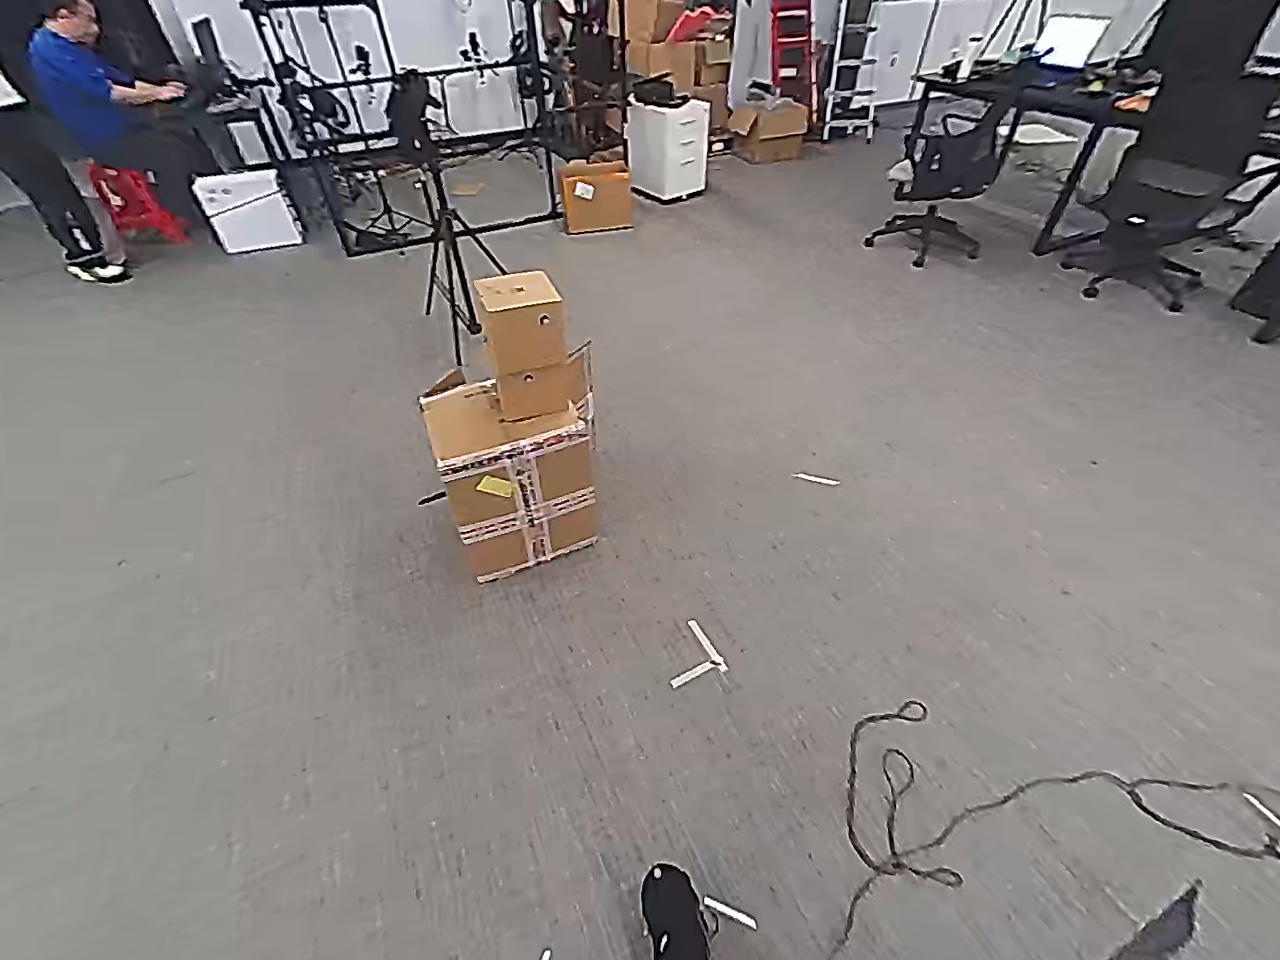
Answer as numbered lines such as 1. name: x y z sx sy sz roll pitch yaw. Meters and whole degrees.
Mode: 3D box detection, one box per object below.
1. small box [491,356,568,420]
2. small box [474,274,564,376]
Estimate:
1. small box: -0.300 -0.280 1.457 0.179 0.176 0.168 -13 47 -15
2. small box: -0.291 -0.378 1.323 0.179 0.176 0.168 -16 48 -17
